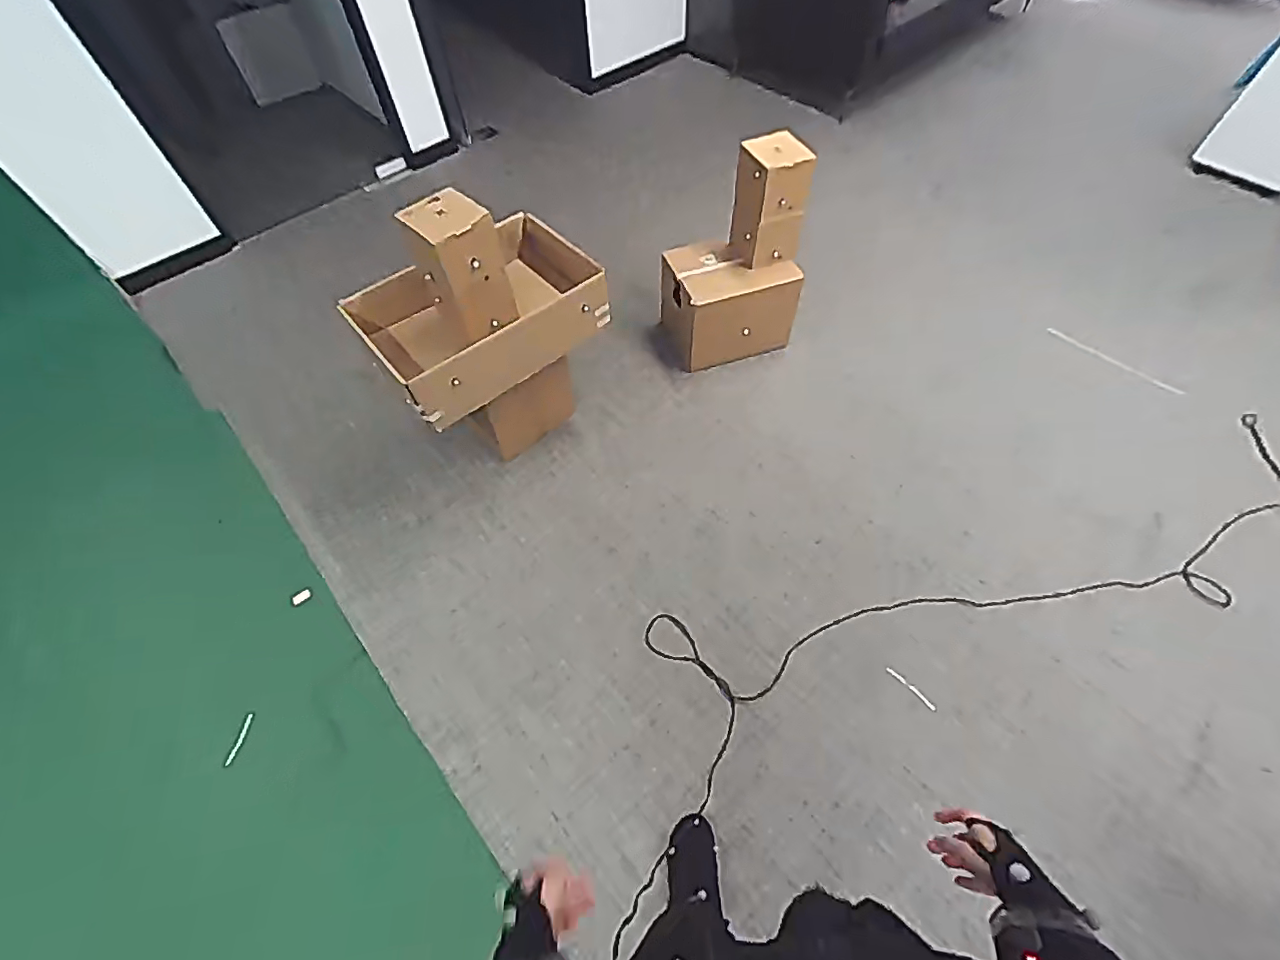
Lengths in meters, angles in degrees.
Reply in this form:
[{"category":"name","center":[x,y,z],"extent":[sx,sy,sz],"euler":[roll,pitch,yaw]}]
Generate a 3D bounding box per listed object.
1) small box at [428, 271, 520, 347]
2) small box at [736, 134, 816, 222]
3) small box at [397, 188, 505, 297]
[{"category":"small box","center":[-0.459,-0.504,1.501],"extent":[0.168,0.176,0.179],"euler":[-38,65,-20]},{"category":"small box","center":[0.415,-0.939,1.688],"extent":[0.168,0.176,0.179],"euler":[-20,59,-11]},{"category":"small box","center":[-0.466,-0.589,1.361],"extent":[0.168,0.176,0.179],"euler":[-40,66,-22]}]
